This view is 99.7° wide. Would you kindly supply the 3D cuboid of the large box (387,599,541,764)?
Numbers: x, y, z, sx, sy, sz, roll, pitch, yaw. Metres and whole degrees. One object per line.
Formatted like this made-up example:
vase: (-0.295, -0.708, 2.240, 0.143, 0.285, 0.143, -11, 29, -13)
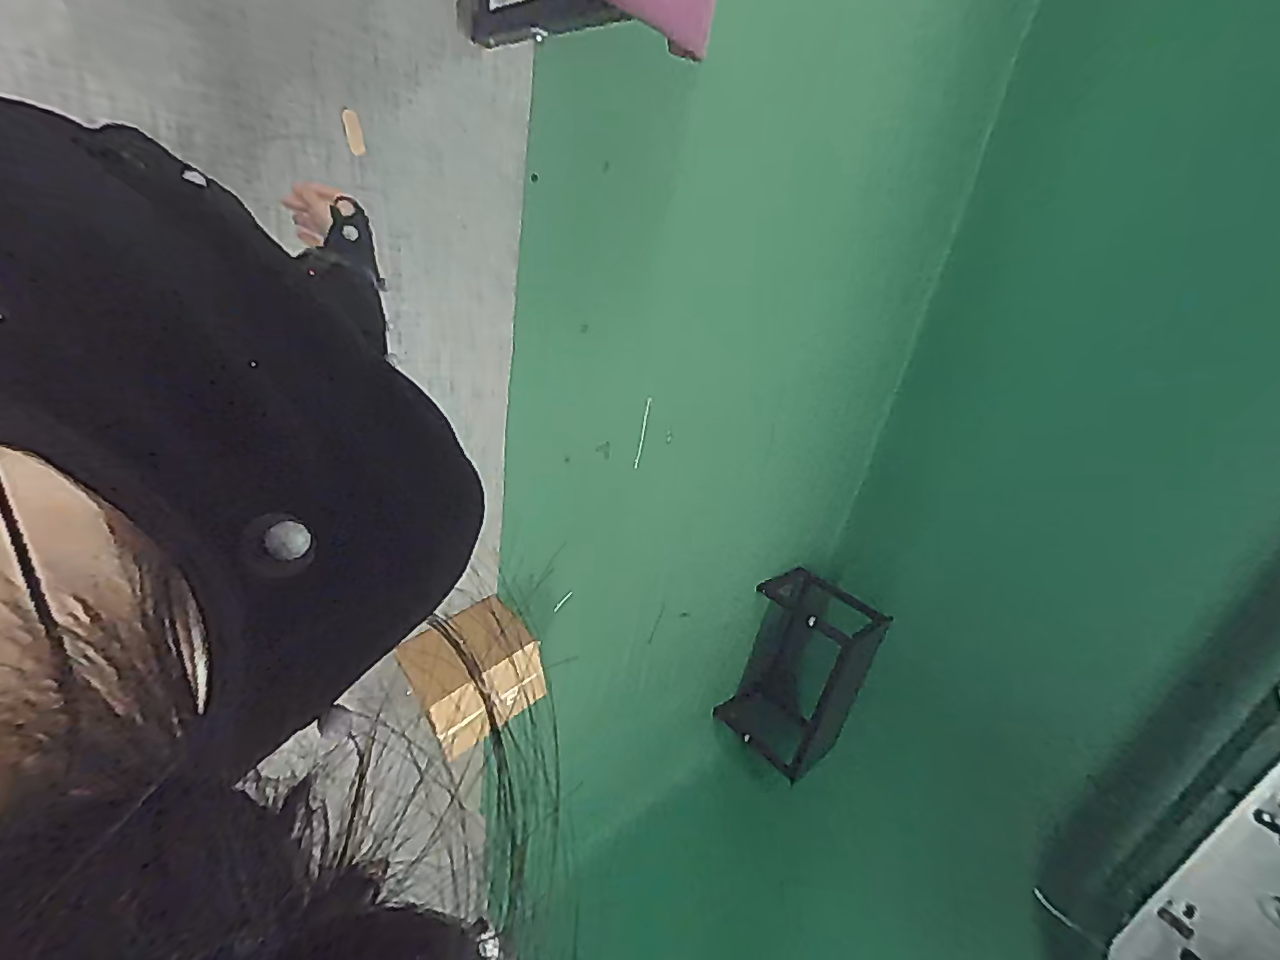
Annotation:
large box: (-0.628, 0.711, 1.964, 0.408, 0.320, 0.320, -27, 132, -35)
